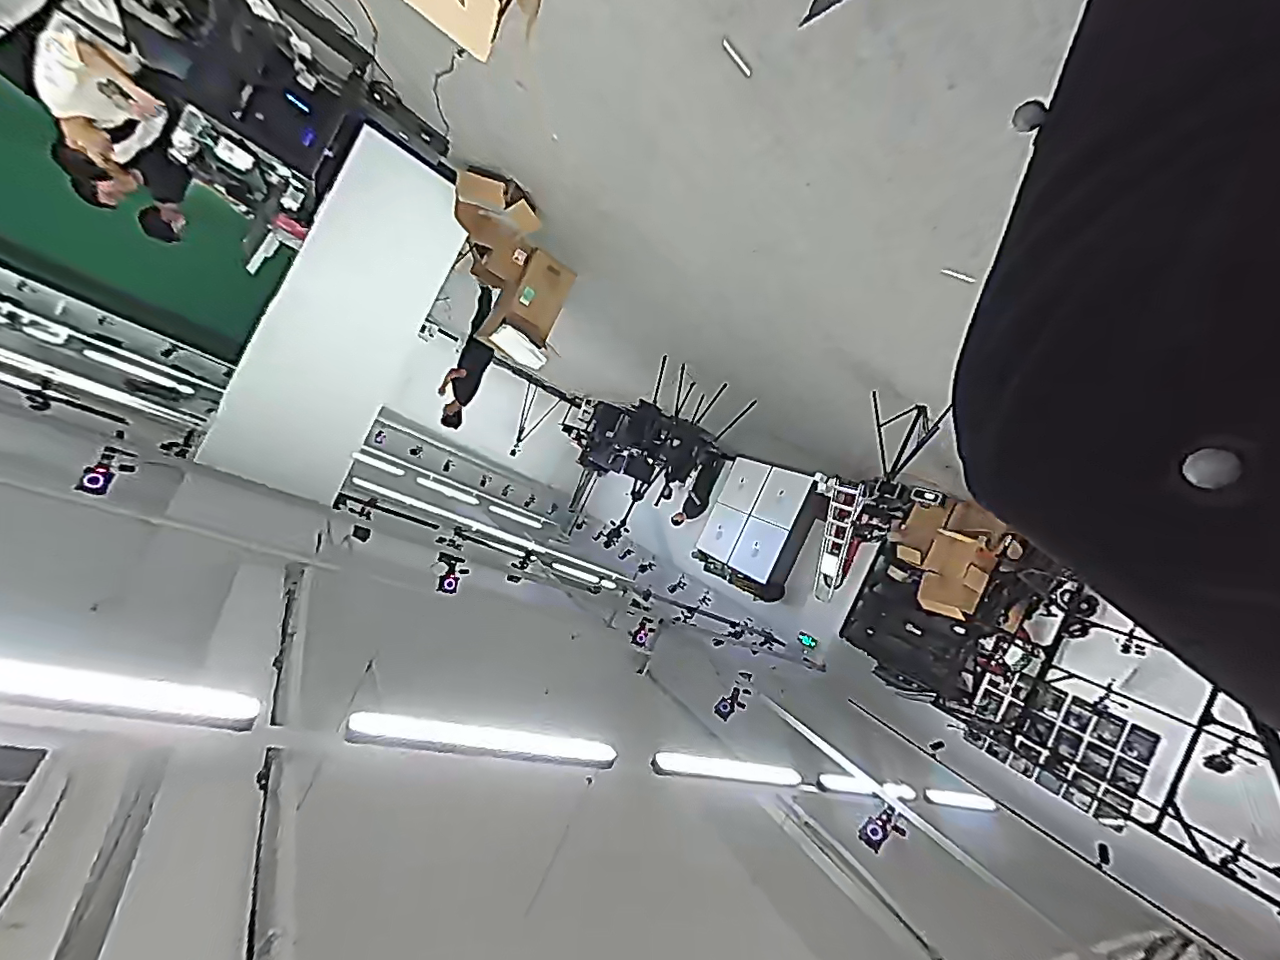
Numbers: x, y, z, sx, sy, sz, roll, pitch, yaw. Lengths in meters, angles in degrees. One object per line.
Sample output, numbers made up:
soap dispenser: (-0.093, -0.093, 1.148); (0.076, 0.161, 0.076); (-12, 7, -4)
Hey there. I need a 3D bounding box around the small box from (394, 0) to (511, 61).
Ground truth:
small box: (-0.128, -0.431, 0.329); (0.179, 0.176, 0.168); (27, 178, -26)
